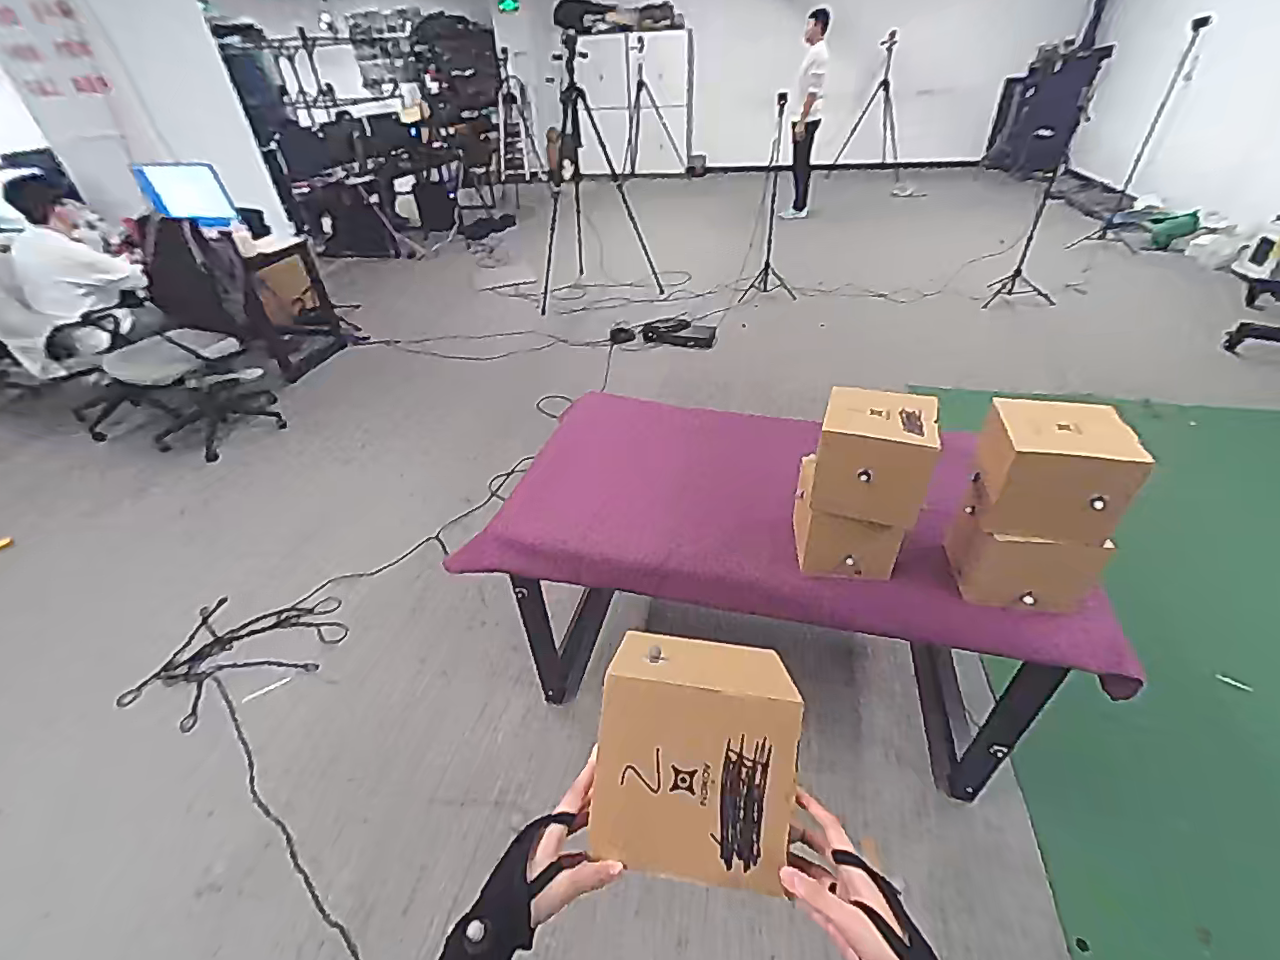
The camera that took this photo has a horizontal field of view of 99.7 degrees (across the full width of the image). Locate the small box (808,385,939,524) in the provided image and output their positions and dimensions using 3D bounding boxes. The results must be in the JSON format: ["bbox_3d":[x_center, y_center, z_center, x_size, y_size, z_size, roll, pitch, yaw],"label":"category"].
[{"bbox_3d":[0.401,-0.044,0.940,0.179,0.176,0.168,11,39,21],"label":"small box"}]

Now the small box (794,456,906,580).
[{"bbox_3d":[0.400,0.070,1.060,0.168,0.176,0.179,2,37,9],"label":"small box"}]

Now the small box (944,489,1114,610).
[{"bbox_3d":[0.682,0.115,0.974,0.179,0.176,0.168,3,38,11],"label":"small box"}]

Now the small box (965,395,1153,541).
[{"bbox_3d":[0.662,-0.020,0.883,0.179,0.176,0.168,7,39,15],"label":"small box"}]
